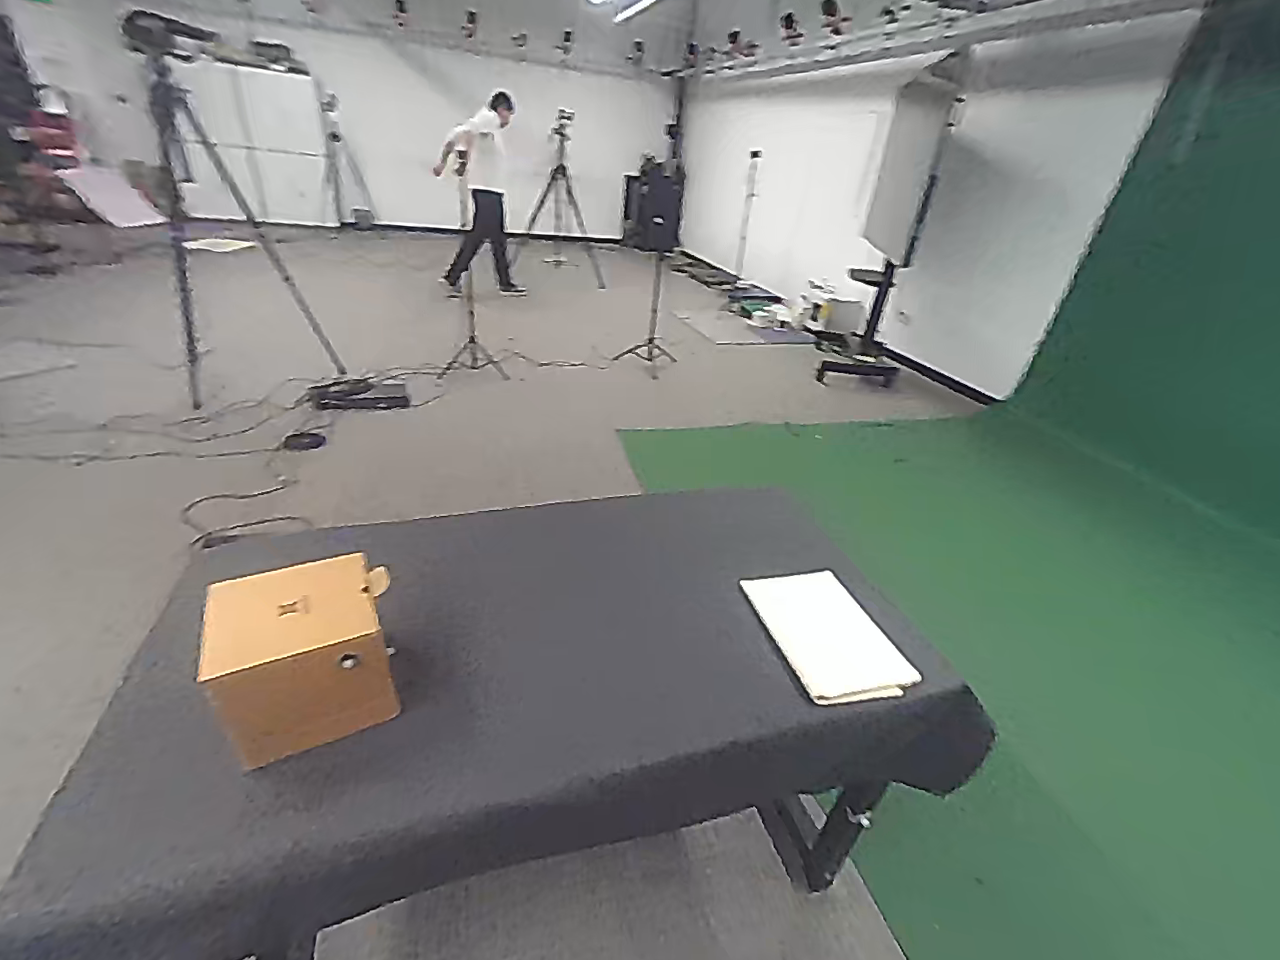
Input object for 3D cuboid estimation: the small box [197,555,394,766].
[{"bbox_3d":[-0.434,0.227,0.699,0.179,0.176,0.168,-11,34,-30],"label":"small box"}]
